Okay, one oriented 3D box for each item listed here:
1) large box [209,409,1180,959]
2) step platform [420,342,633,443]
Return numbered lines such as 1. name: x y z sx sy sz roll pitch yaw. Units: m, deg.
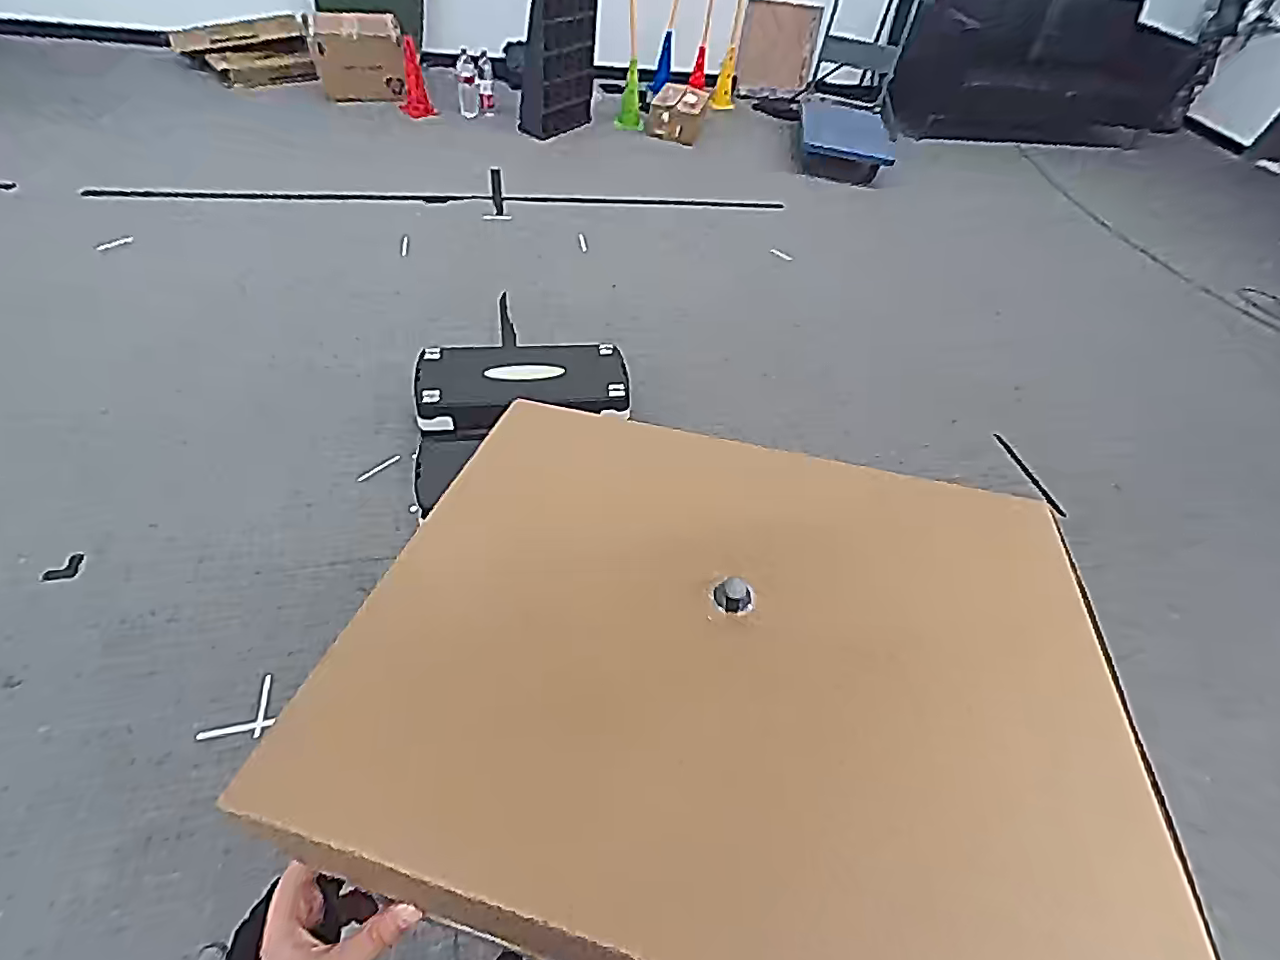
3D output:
1. large box: 0.032 0.176 0.411 0.408 0.320 0.320 10 47 10
2. step platform: -0.365 -0.289 1.798 0.684 0.204 0.286 0 53 -10
